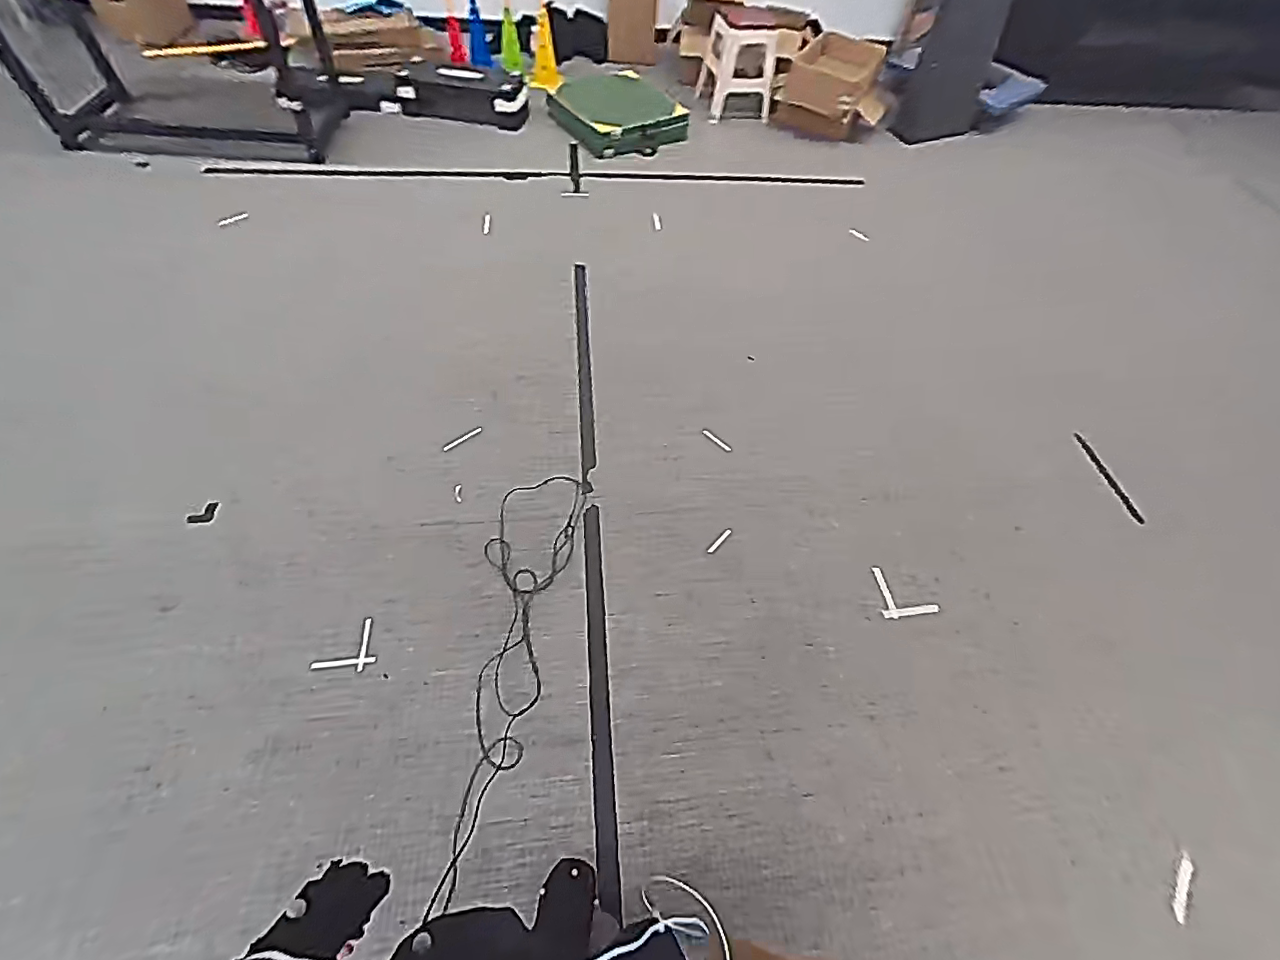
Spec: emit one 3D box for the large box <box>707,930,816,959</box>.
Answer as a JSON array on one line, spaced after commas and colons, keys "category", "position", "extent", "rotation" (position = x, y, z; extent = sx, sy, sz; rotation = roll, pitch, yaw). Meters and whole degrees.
[{"category": "large box", "position": [0.270, 0.795, 0.638], "extent": [0.320, 0.408, 0.320], "rotation": [20, 56, -3]}]
